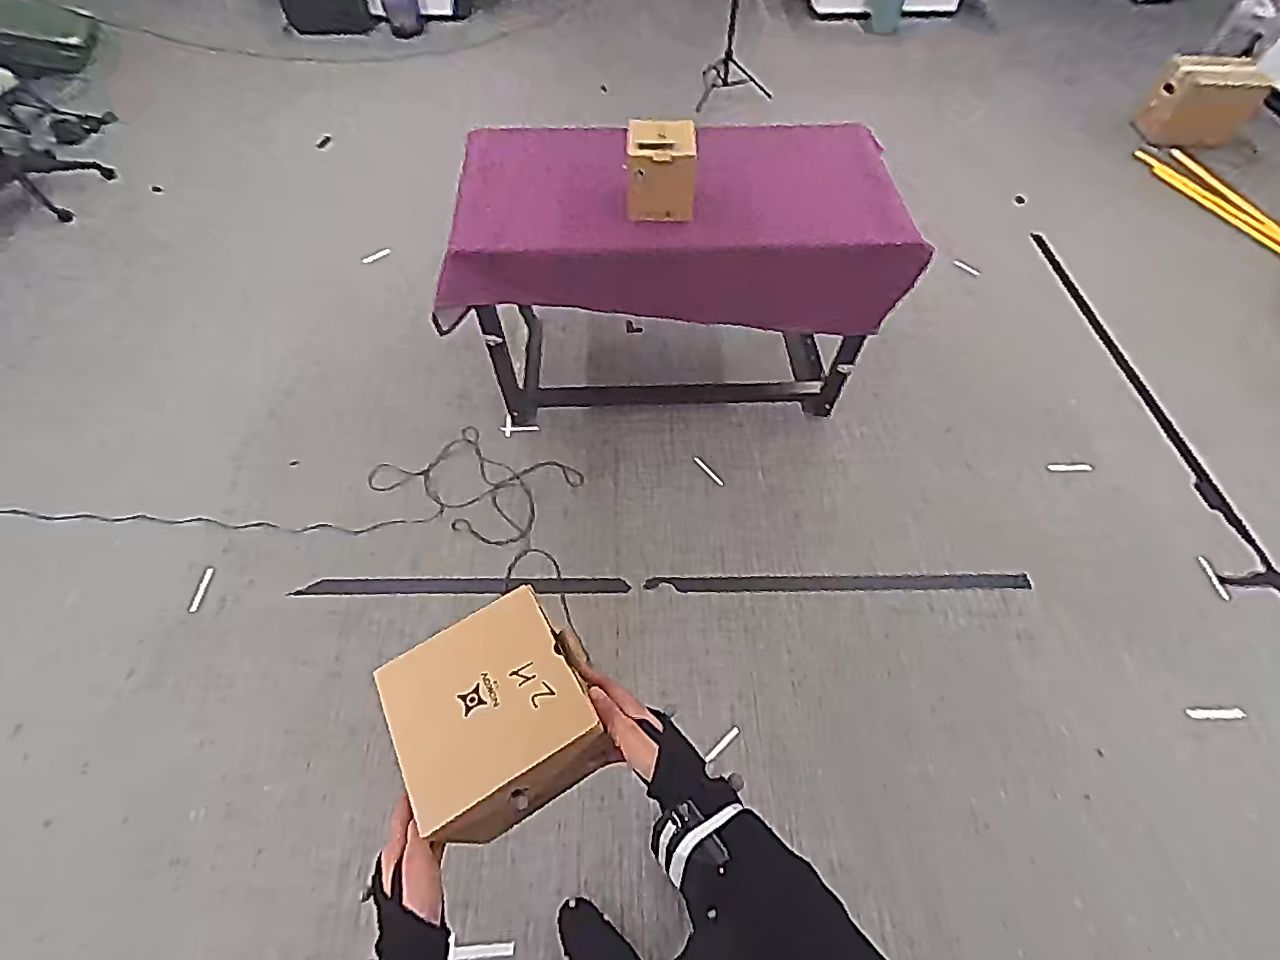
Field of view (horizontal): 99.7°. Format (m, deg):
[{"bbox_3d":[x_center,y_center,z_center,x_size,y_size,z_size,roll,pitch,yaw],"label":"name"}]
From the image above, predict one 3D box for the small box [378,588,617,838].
[{"bbox_3d":[-0.142,0.254,0.581,0.179,0.176,0.168,-27,56,-13],"label":"small box"}]
